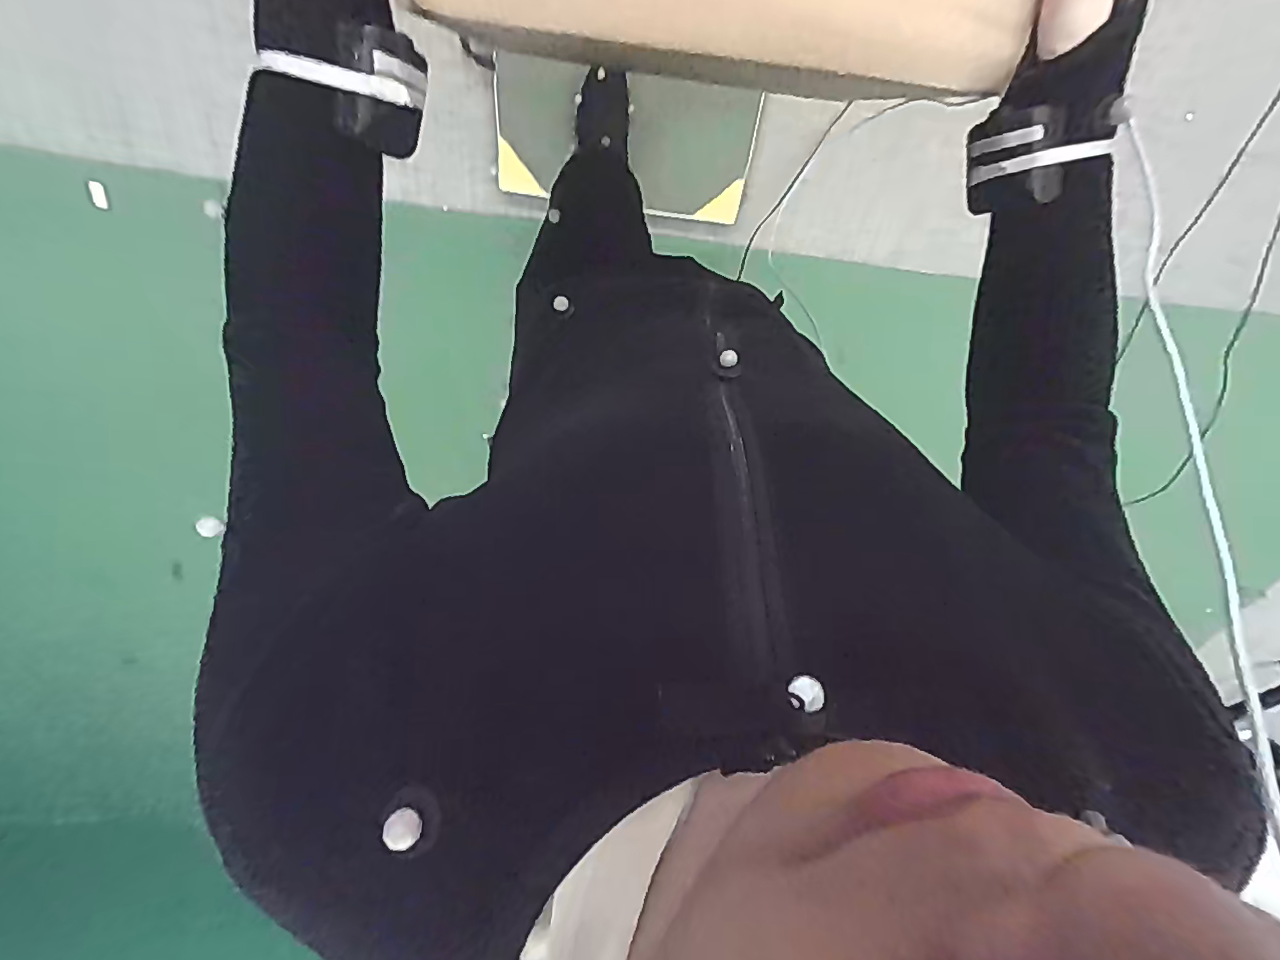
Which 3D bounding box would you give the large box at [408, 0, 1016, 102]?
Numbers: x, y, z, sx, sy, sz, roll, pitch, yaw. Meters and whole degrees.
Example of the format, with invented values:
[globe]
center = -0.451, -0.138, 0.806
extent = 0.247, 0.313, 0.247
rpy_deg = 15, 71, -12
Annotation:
[large box]
center = 0.051, -0.491, 0.404
extent = 0.408, 0.320, 0.320
rpy_deg = 3, 125, -6
